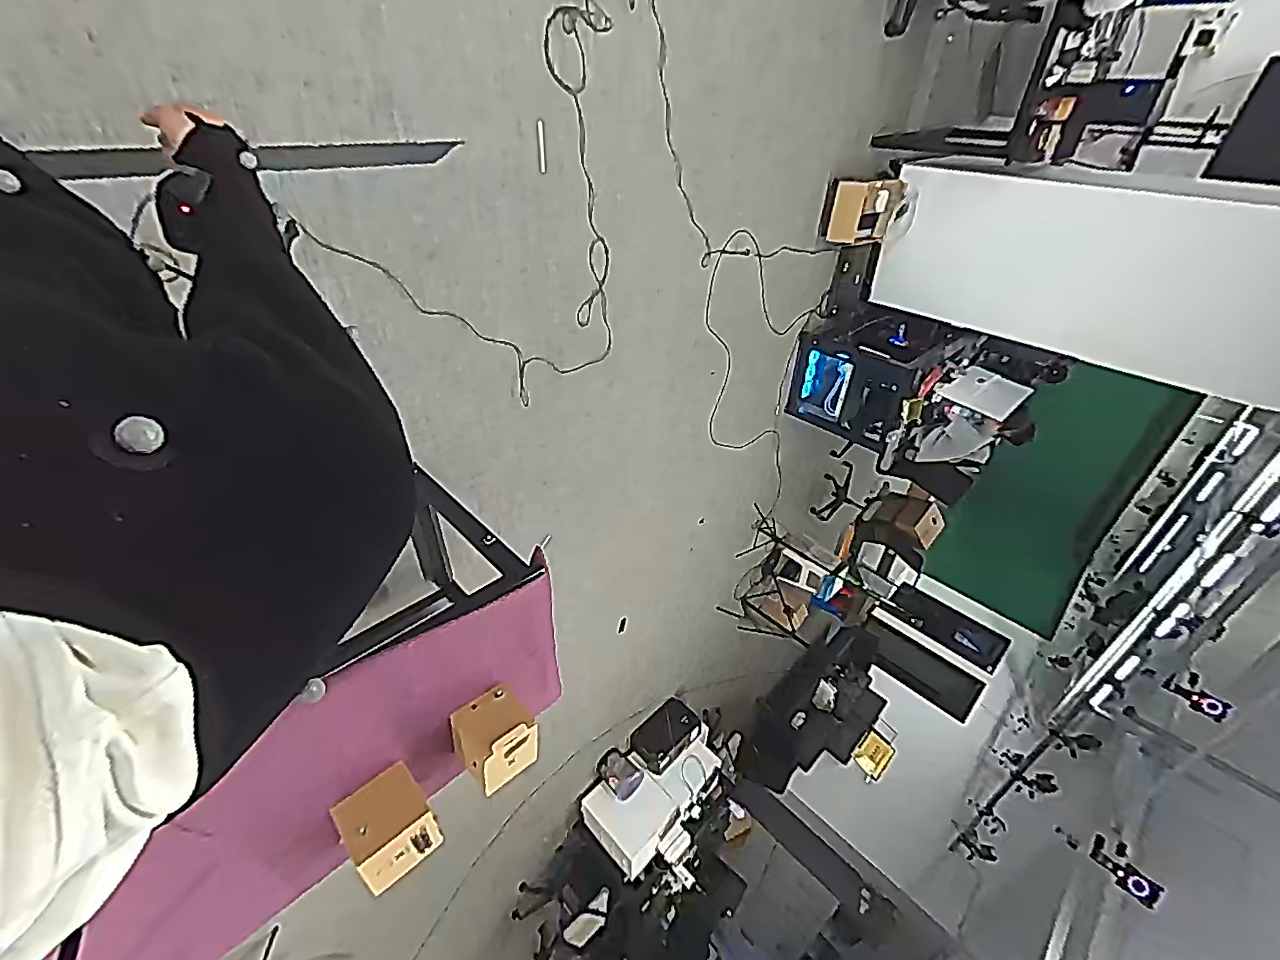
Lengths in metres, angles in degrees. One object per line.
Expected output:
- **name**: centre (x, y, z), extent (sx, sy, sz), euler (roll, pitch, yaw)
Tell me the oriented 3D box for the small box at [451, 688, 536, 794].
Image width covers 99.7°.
- **small box**: centre (-0.404, 0.704, 1.486), extent (0.168, 0.176, 0.179), euler (-23, 133, -39)
